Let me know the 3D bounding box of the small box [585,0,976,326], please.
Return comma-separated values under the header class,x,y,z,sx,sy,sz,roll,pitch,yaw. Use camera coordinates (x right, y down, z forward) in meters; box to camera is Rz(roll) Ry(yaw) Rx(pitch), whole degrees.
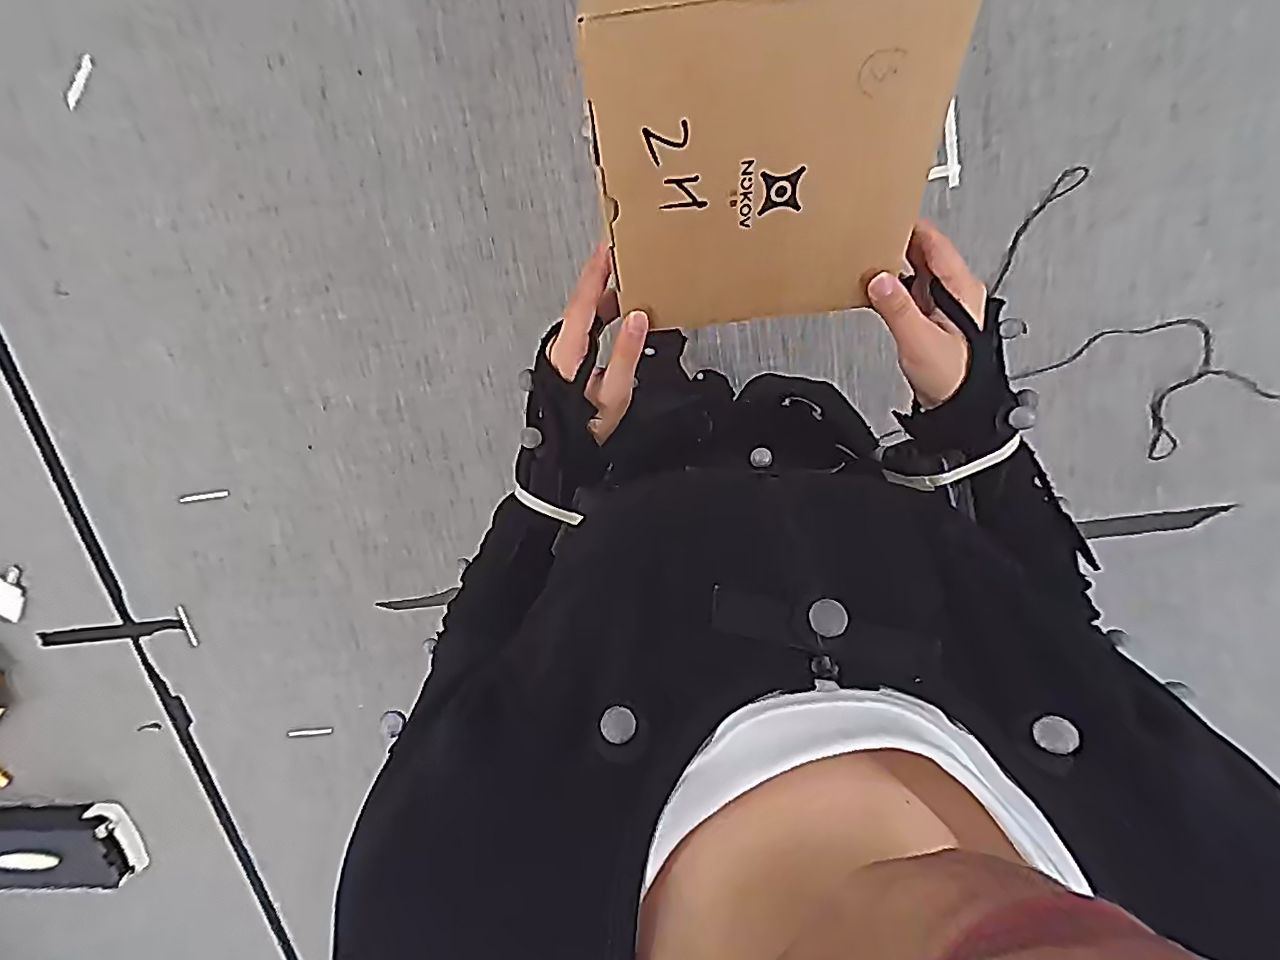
class,x,y,z,sx,sy,sz,roll,pitch,yaw
small box,0.064,-0.224,0.343,0.179,0.176,0.168,-5,142,4
